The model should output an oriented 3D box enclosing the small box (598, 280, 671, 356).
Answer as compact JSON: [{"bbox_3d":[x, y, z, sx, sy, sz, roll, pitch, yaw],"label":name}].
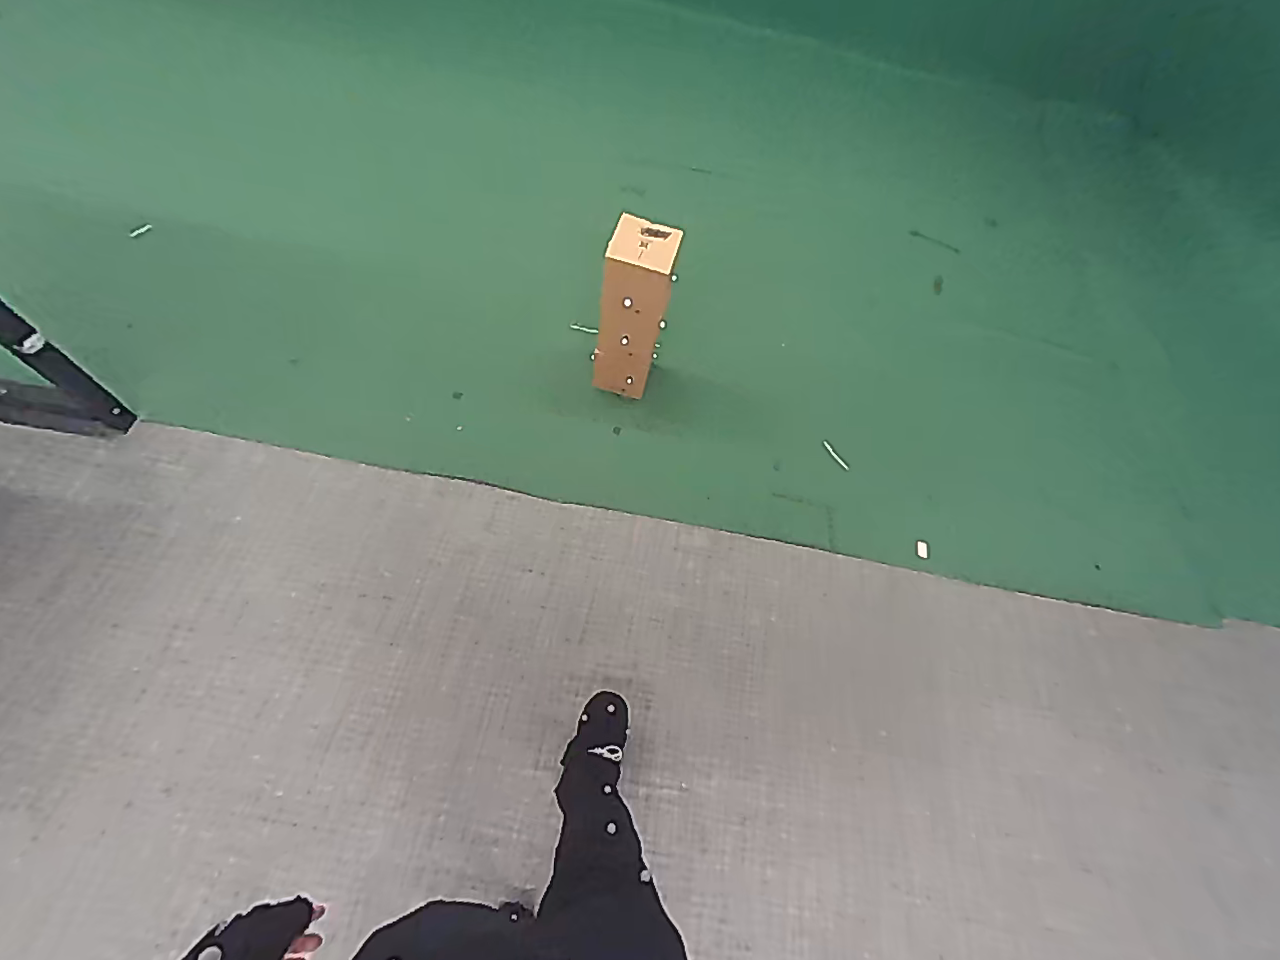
[{"bbox_3d":[-0.021,-0.483,1.560,0.168,0.176,0.179,17,61,-1],"label":"small box"}]

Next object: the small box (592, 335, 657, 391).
[{"bbox_3d":[-0.046,-0.408,1.681,0.168,0.176,0.179,18,60,-1],"label":"small box"}]

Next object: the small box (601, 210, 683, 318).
[{"bbox_3d":[0.001,-0.561,1.416,0.168,0.176,0.179,17,62,0],"label":"small box"}]
